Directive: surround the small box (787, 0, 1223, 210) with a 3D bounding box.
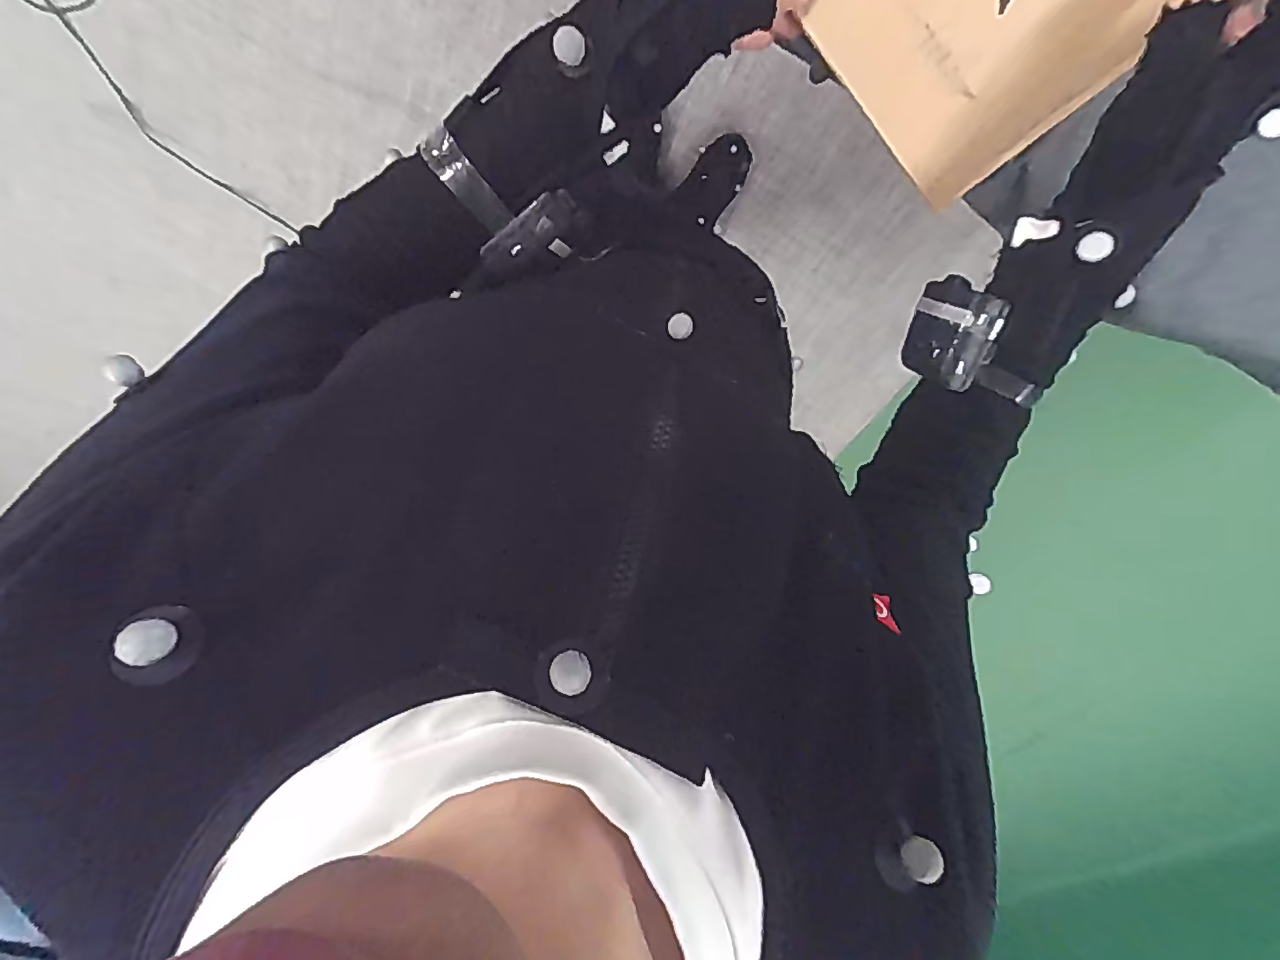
[{"bbox_3d":[0.202,-0.314,0.324,0.168,0.176,0.179,37,132,-23],"label":"small box"}]
